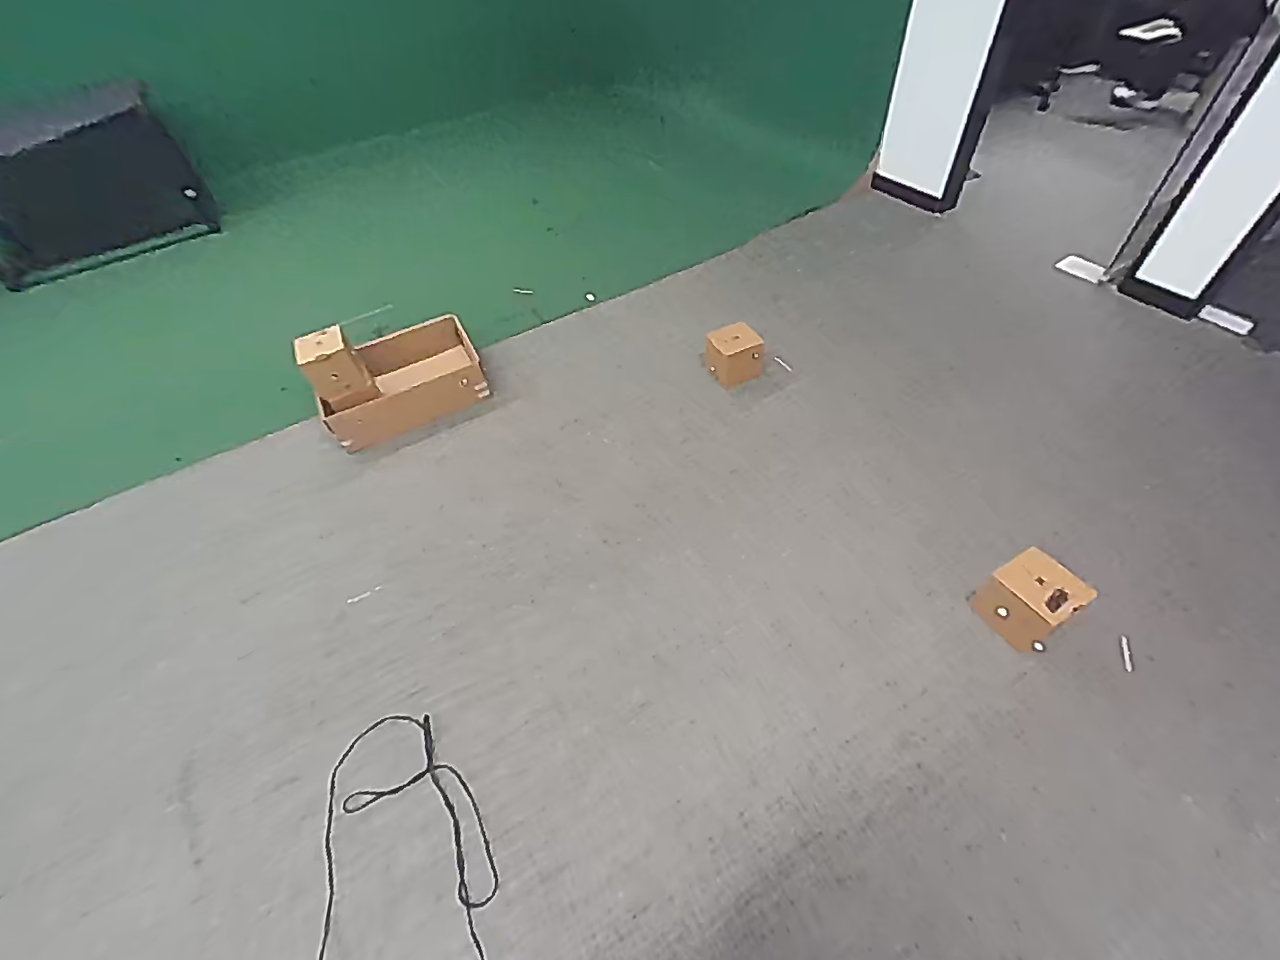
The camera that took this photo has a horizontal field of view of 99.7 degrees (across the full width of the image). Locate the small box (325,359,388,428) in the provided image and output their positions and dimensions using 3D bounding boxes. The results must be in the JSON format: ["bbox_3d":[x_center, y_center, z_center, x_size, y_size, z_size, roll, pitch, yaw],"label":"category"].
[{"bbox_3d":[-1.123,-0.337,2.126,0.168,0.176,0.179,-28,55,-16],"label":"small box"}]

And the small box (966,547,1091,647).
[{"bbox_3d":[1.015,0.317,1.430,0.168,0.176,0.179,-26,52,-14],"label":"small box"}]

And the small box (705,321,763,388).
[{"bbox_3d":[0.369,-0.500,2.158,0.179,0.176,0.168,-22,52,-11],"label":"small box"}]

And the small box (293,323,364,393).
[{"bbox_3d":[-1.152,-0.443,2.004,0.168,0.176,0.179,-24,54,-13],"label":"small box"}]
